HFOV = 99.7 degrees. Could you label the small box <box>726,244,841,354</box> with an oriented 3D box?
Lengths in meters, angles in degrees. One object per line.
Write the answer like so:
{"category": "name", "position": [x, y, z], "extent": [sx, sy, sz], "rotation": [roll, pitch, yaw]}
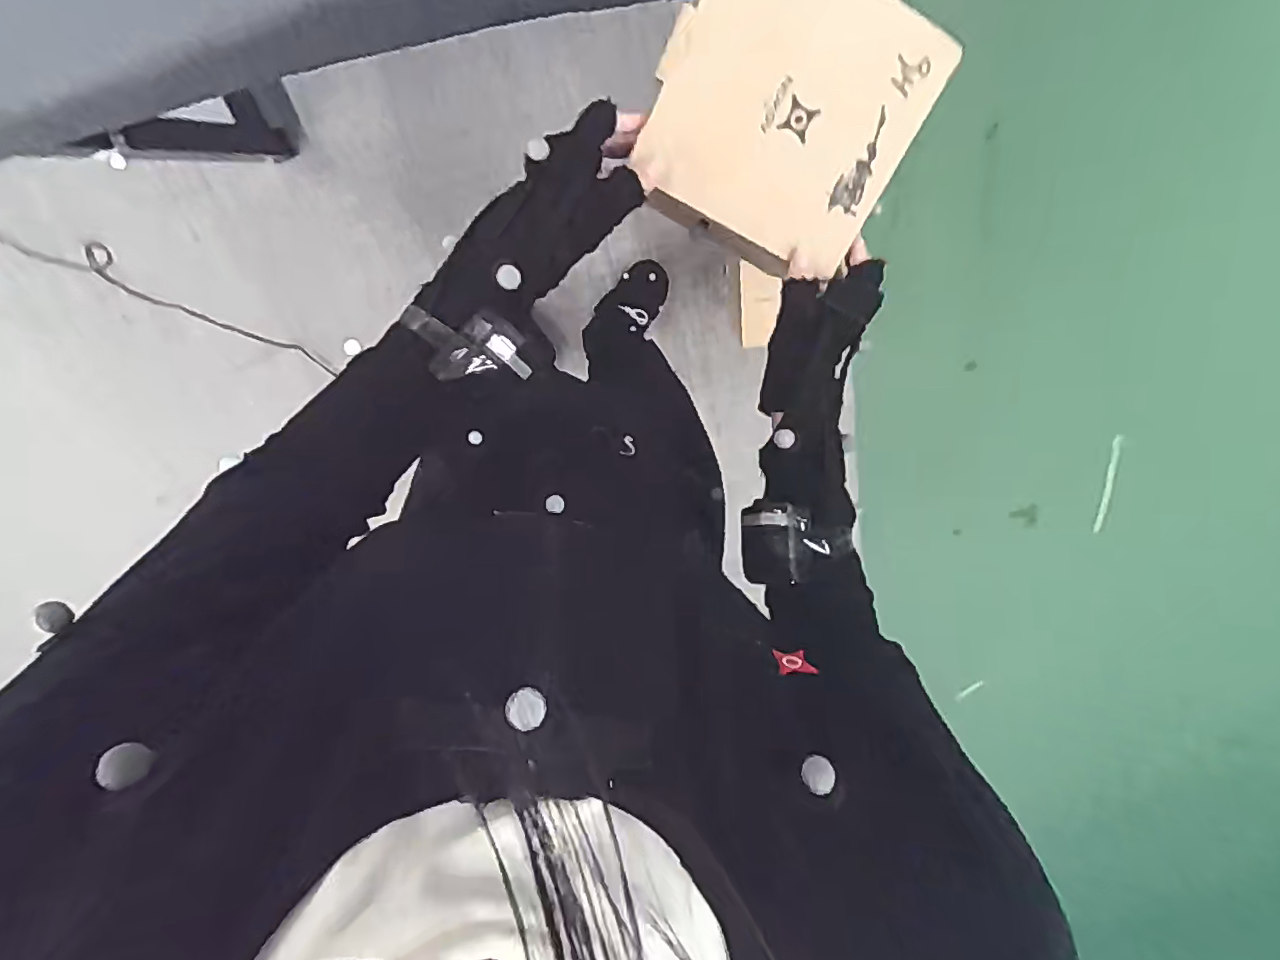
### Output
{"category": "small box", "position": [0.262, -0.347, 1.026], "extent": [0.179, 0.176, 0.168], "rotation": [-4, 117, 4]}

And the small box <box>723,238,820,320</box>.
{"category": "small box", "position": [0.277, -0.425, 1.171], "extent": [0.179, 0.176, 0.168], "rotation": [-3, 117, 5]}
